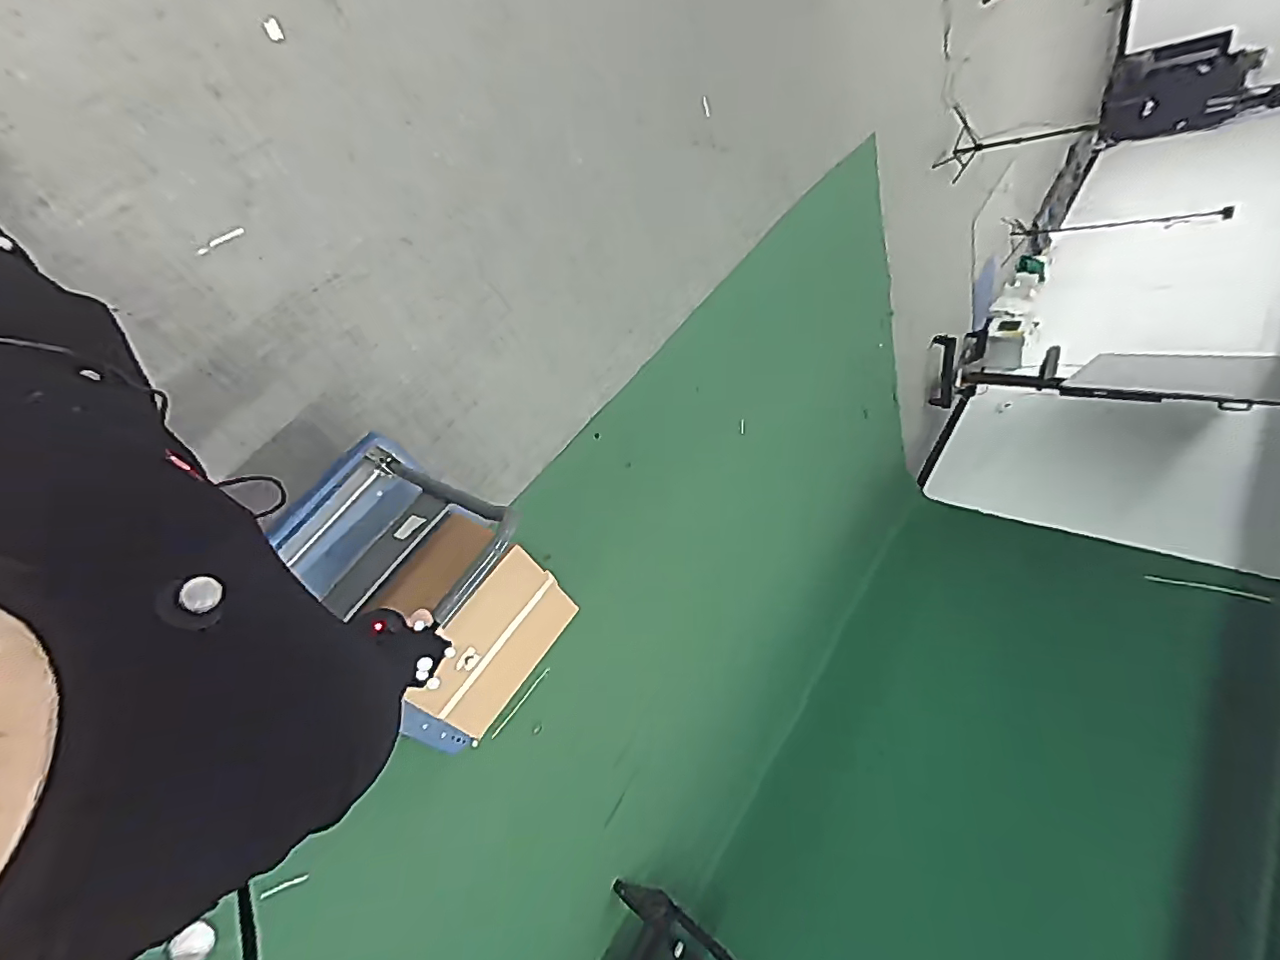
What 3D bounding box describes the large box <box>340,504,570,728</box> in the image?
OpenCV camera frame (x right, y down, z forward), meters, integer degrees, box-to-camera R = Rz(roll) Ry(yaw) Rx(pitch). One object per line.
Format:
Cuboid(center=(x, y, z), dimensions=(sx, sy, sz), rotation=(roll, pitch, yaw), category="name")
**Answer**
Cuboid(center=(-0.466, 0.334, 1.402), dimensions=(0.408, 0.320, 0.320), rotation=(-51, 133, -22), category="large box")
